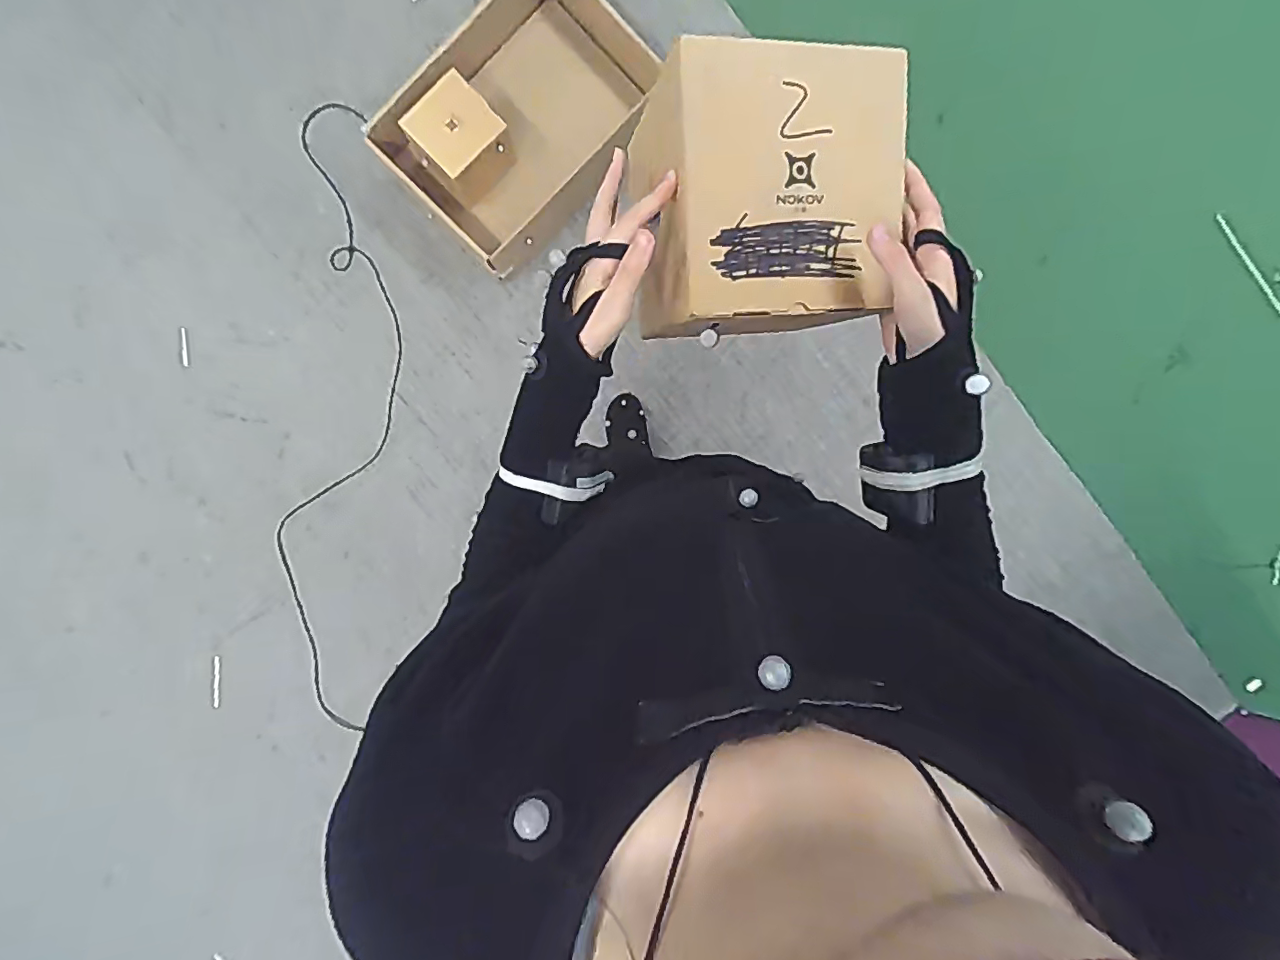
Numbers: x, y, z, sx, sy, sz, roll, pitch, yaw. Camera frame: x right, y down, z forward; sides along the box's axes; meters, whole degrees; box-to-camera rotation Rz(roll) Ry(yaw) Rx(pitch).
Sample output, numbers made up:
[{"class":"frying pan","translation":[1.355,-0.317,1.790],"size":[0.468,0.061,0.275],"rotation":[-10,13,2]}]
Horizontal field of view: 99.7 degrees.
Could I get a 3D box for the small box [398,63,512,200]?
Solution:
[{"class":"small box","translation":[-0.421,-0.804,1.270],"size":[0.168,0.176,0.179],"rotation":[45,90,-8]}]
